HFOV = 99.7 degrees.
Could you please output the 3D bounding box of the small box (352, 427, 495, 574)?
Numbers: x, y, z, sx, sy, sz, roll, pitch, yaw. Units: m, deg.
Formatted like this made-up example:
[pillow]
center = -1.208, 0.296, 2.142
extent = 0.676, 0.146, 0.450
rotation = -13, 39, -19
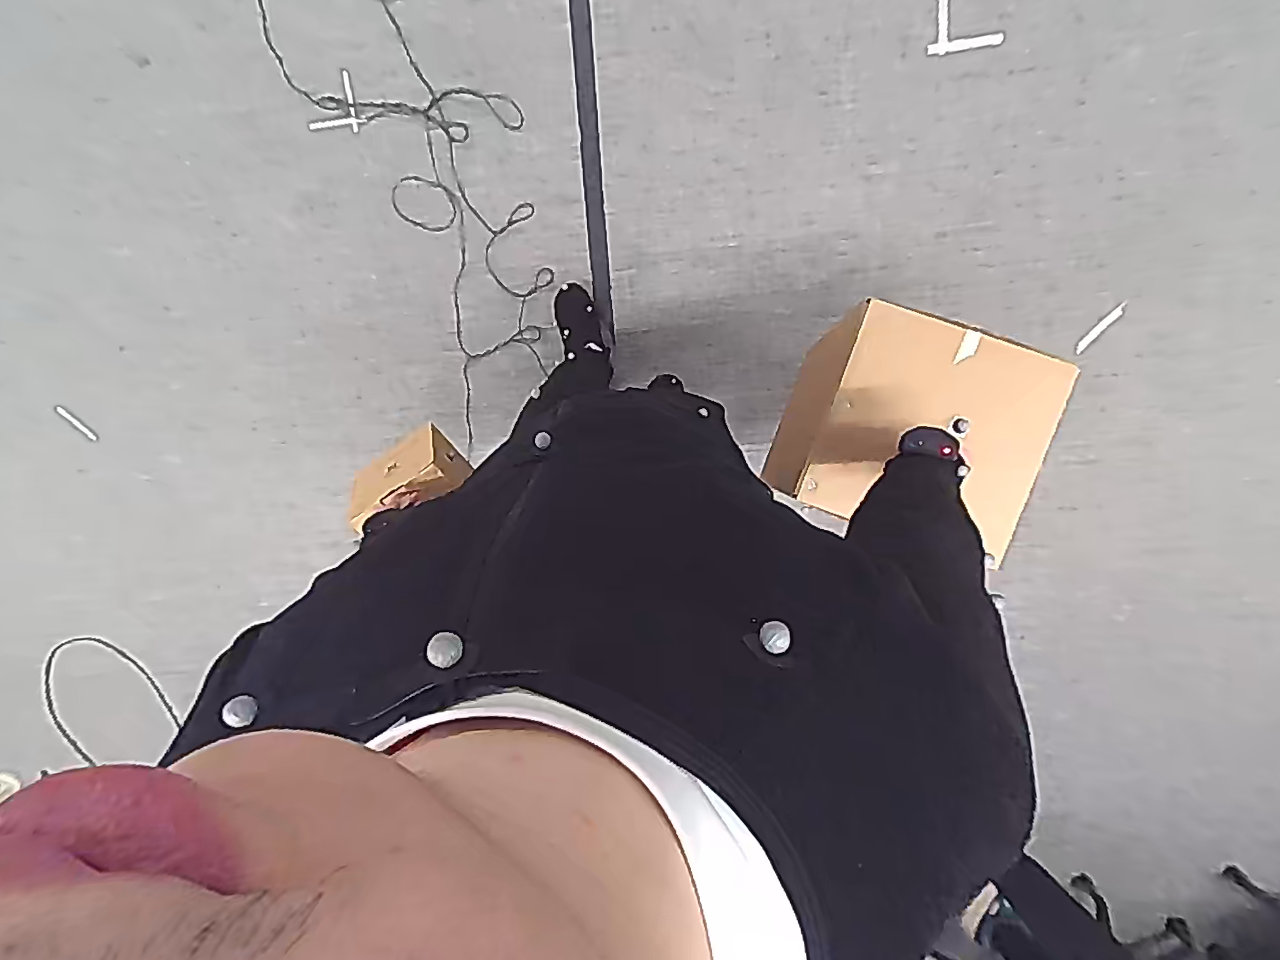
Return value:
[small box]
center = -0.377, 0.041, 0.965
extent = 0.168, 0.179, 0.176
rotation = -35, 123, -1
